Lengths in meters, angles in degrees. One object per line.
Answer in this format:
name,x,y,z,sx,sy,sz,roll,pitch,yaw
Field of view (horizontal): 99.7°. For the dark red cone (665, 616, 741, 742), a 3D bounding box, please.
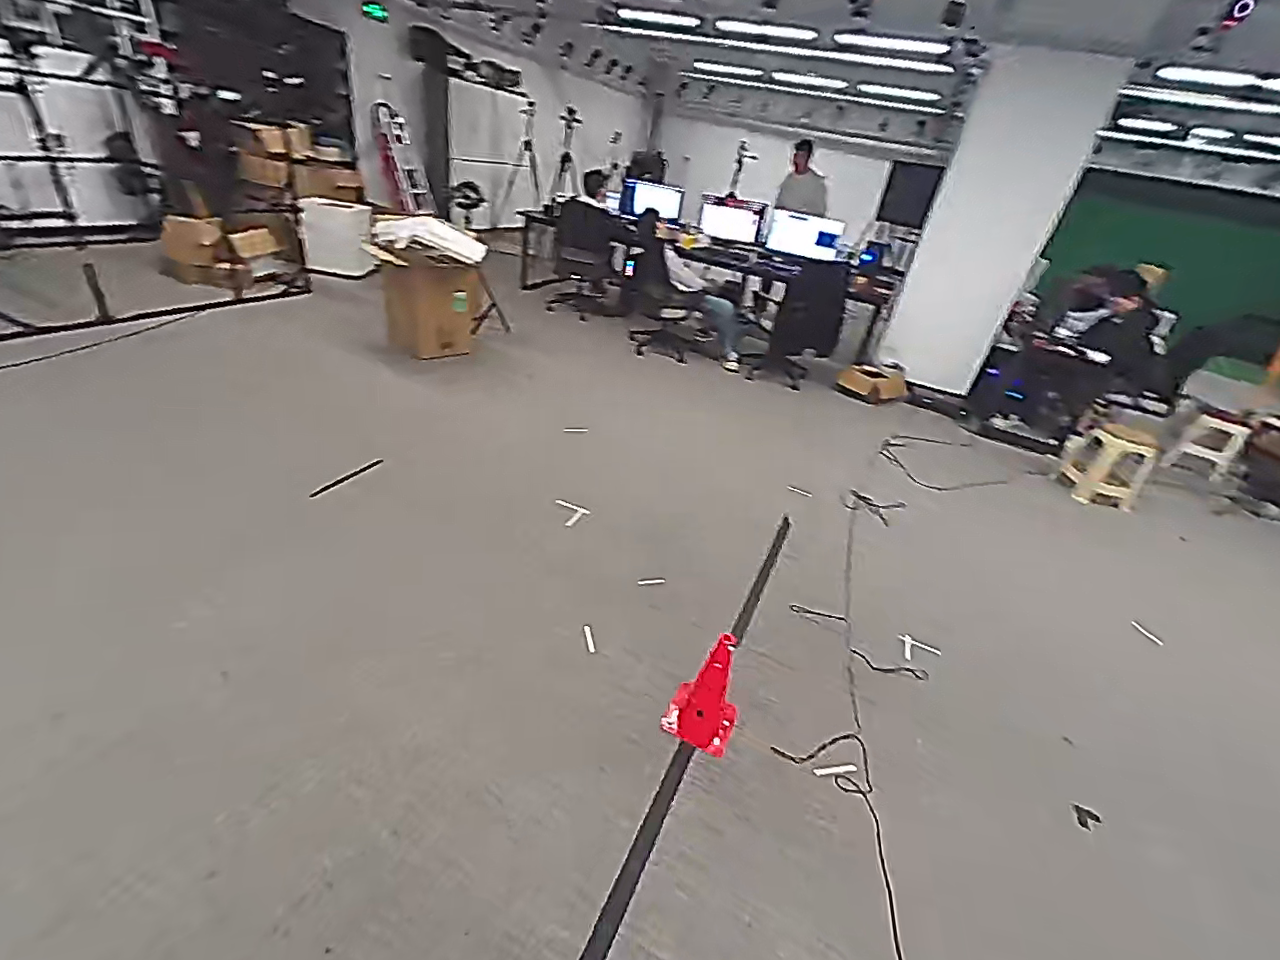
dark red cone,0.222,0.553,1.581,0.201,0.394,0.202,22,32,16
